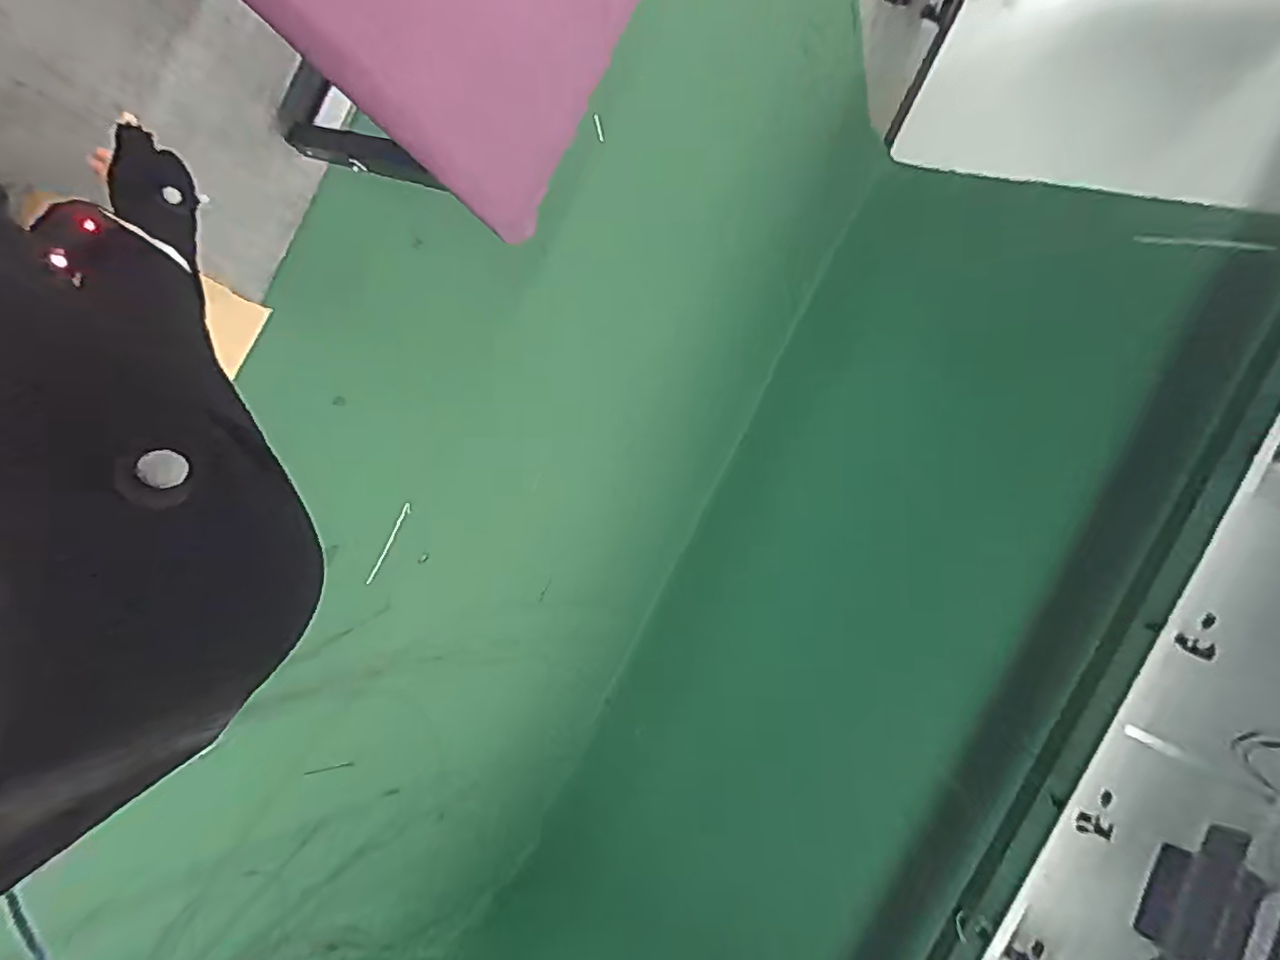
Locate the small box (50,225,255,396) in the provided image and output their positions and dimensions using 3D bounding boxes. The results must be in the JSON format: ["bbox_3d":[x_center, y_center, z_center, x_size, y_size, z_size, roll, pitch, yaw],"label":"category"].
[{"bbox_3d":[-0.760,-0.263,0.843,0.179,0.176,0.168,-63,153,-2],"label":"small box"}]

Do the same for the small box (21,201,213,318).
[{"bbox_3d":[-0.885,-0.336,0.915,0.179,0.176,0.168,-62,153,-3],"label":"small box"}]
